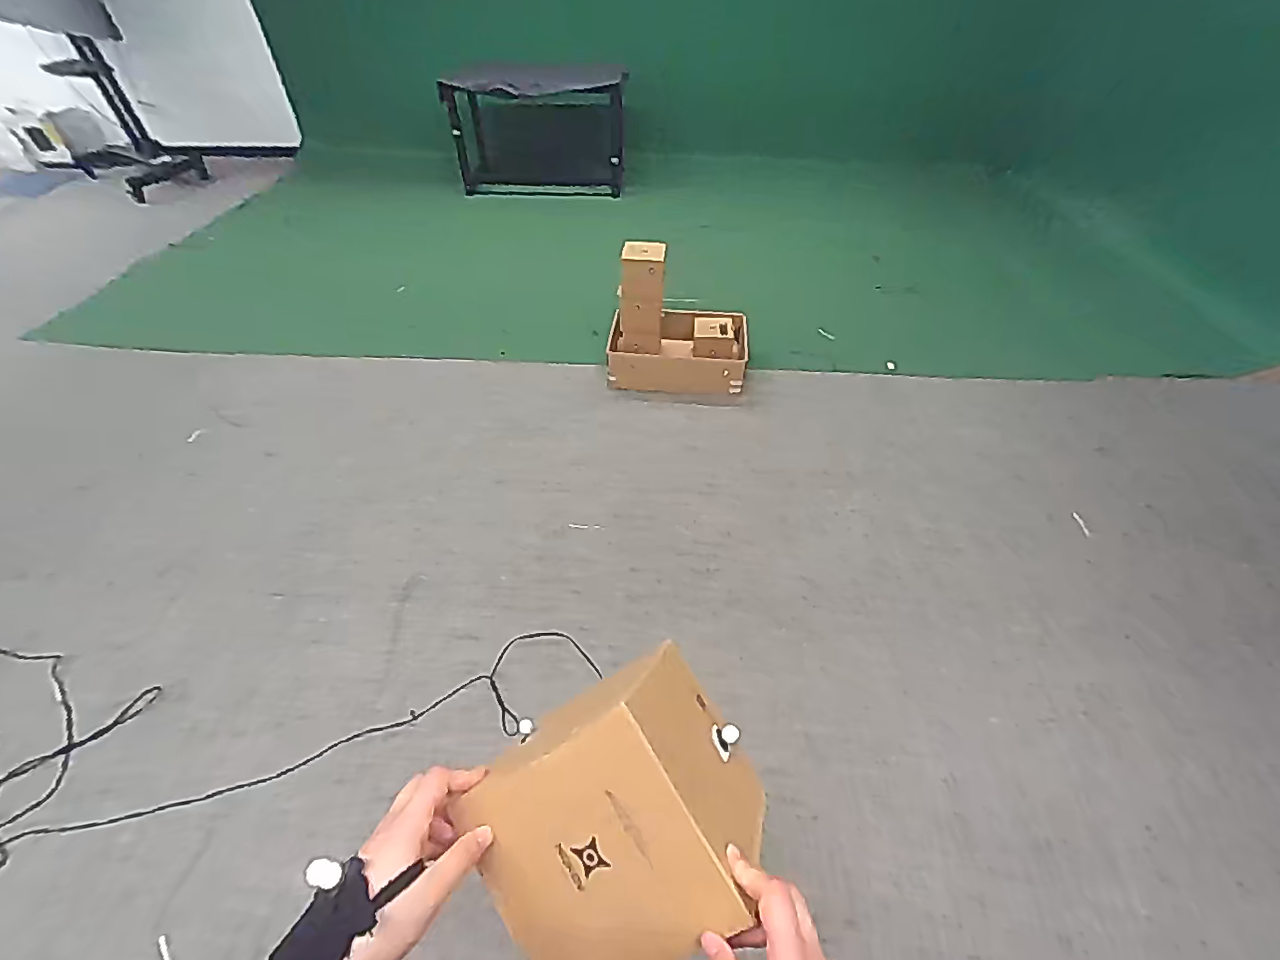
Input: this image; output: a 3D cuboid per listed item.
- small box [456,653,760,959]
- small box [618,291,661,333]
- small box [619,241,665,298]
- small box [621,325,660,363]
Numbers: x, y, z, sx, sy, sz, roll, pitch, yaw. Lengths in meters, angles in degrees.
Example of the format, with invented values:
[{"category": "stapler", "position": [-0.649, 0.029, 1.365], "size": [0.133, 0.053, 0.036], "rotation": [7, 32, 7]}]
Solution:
[{"category": "small box", "position": [-0.012, 0.280, 0.465], "size": [0.179, 0.176, 0.168], "rotation": [-35, 82, 11]}, {"category": "small box", "position": [-0.001, -0.769, 2.392], "size": [0.179, 0.176, 0.168], "rotation": [5, 48, 3]}, {"category": "small box", "position": [0.010, -0.879, 2.268], "size": [0.179, 0.176, 0.168], "rotation": [4, 47, 4]}, {"category": "small box", "position": [0.005, -0.664, 2.518], "size": [0.168, 0.176, 0.179], "rotation": [4, 48, 3]}]
